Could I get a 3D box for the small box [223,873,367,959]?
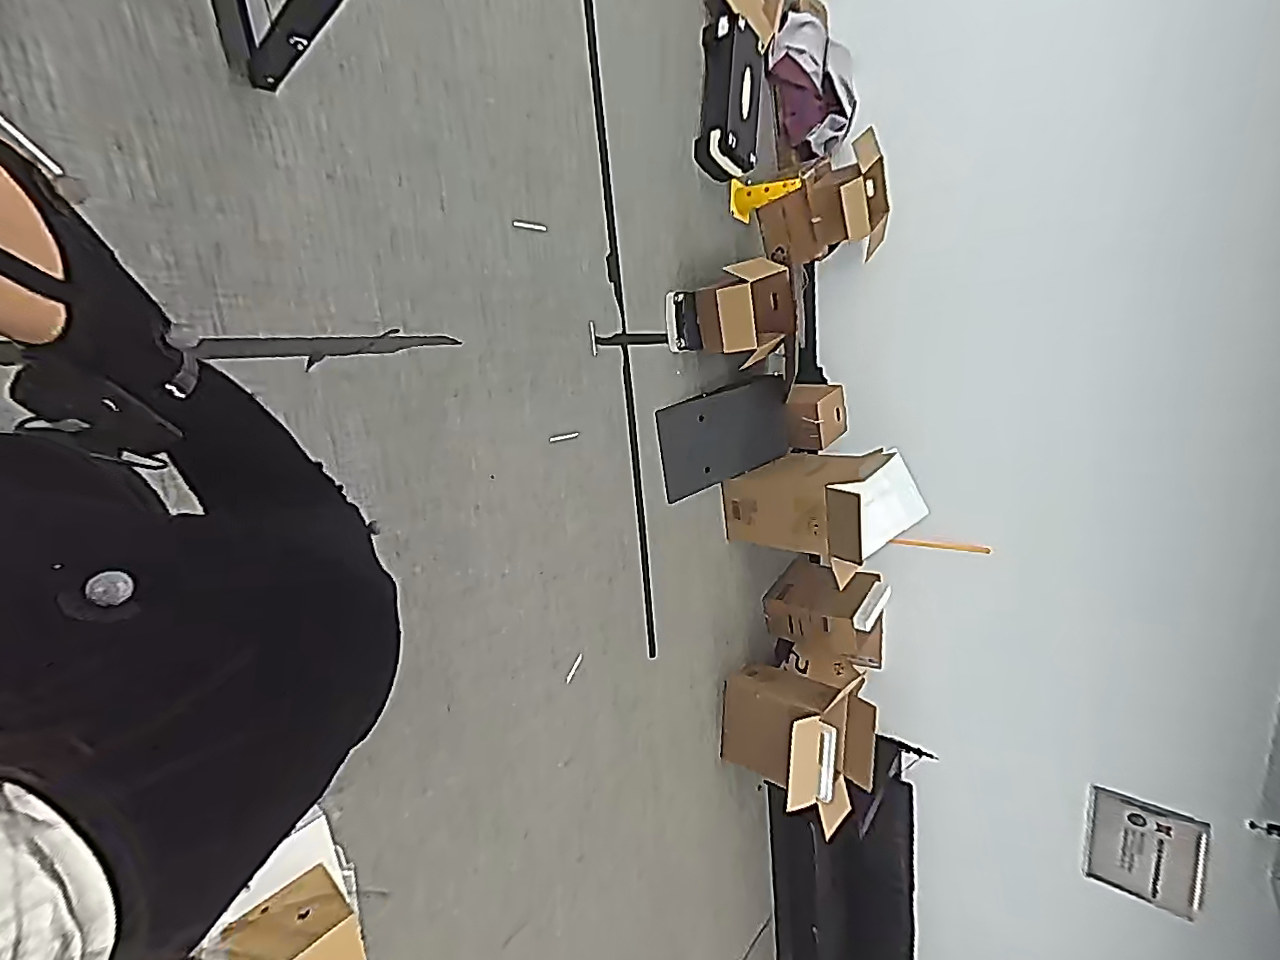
[{"bbox_3d":[-0.610,0.852,0.963,0.168,0.176,0.179,-19,109,-47],"label":"small box"}]
